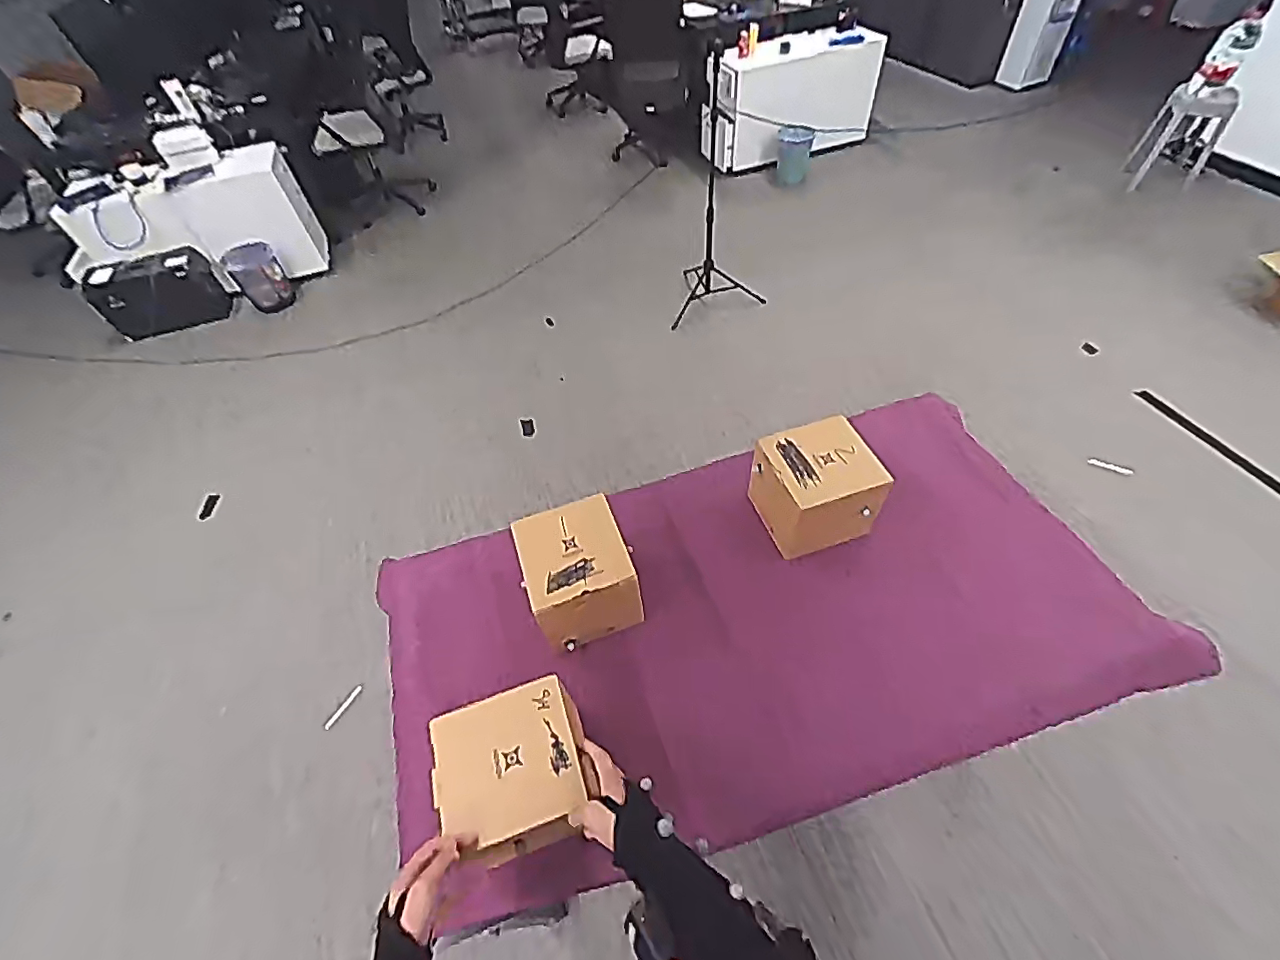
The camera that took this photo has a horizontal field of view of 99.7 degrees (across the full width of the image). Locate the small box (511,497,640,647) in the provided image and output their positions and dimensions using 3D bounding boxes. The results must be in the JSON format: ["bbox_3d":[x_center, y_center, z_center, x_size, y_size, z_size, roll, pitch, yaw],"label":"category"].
[{"bbox_3d":[-0.104,0.164,0.922,0.168,0.176,0.179,-18,52,-9],"label":"small box"}]

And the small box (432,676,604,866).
[{"bbox_3d":[-0.161,0.400,0.736,0.179,0.176,0.168,-18,52,-8],"label":"small box"}]
